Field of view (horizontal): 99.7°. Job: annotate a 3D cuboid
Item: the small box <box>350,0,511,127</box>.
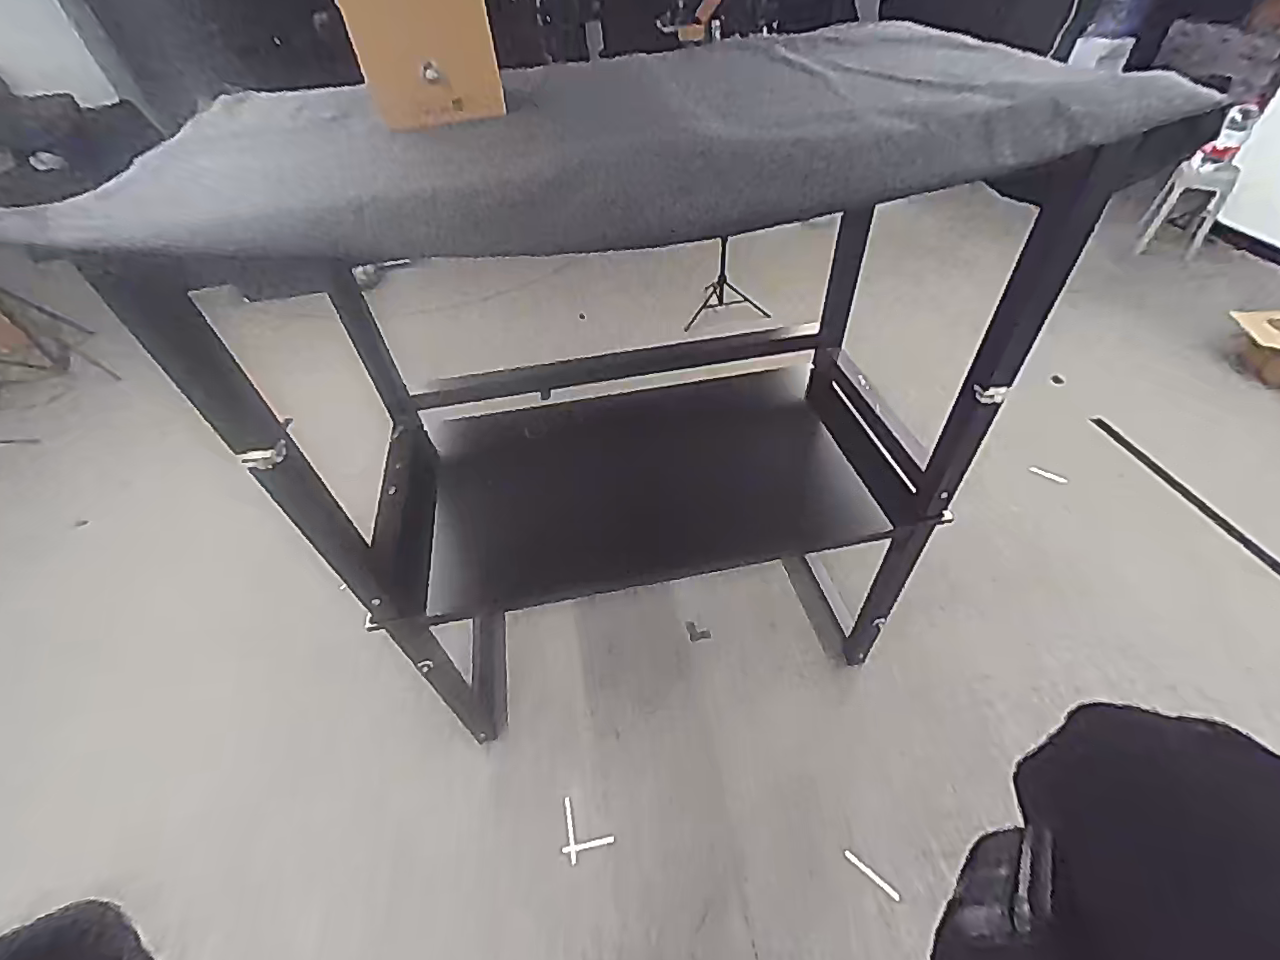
[{"bbox_3d":[-0.280,-0.597,0.731,0.168,0.176,0.179,-13,47,-8],"label":"small box"}]
